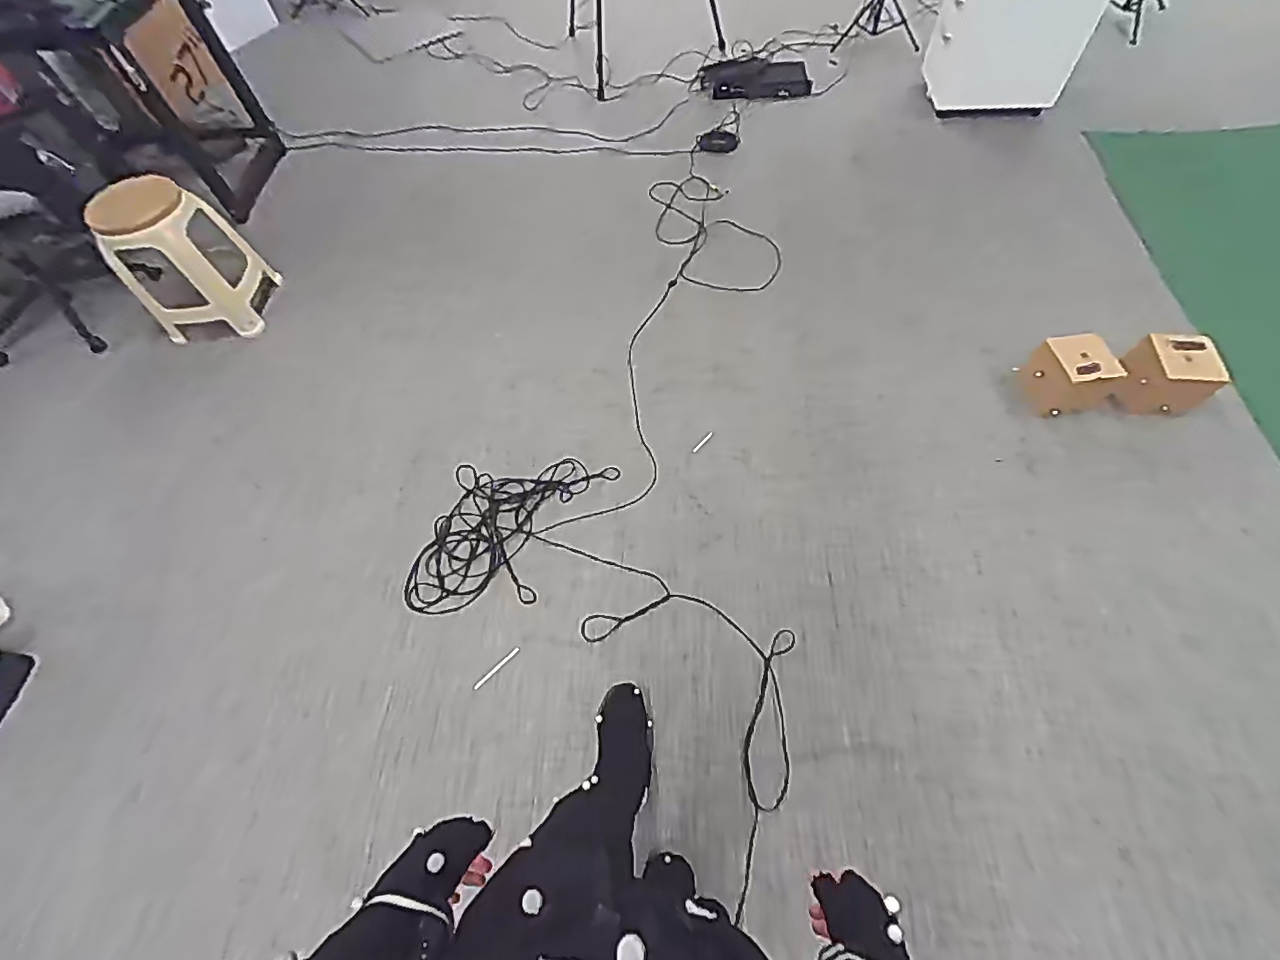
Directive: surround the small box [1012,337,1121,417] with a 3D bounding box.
[{"bbox_3d":[1.296,-0.308,1.658,0.168,0.176,0.179,-6,59,-1],"label":"small box"}]
